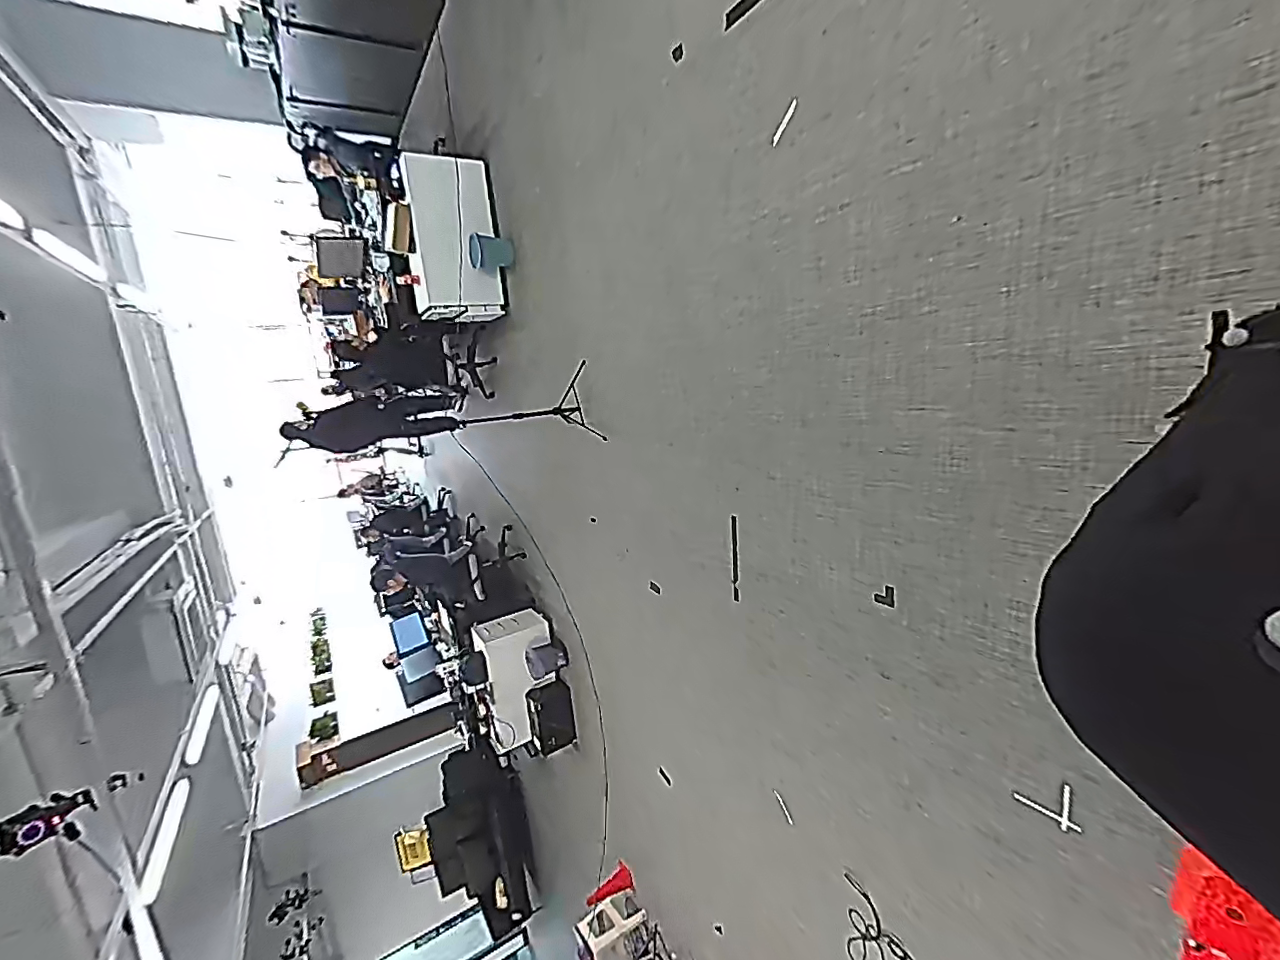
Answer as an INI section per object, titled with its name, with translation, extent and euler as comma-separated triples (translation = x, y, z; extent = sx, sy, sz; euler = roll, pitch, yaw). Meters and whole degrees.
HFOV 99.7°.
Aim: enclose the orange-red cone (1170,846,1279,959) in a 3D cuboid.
[orange-red cone]
translation = 1.117, 0.934, 1.050
extent = 0.199, 0.360, 0.198
euler = 23, 118, 56
